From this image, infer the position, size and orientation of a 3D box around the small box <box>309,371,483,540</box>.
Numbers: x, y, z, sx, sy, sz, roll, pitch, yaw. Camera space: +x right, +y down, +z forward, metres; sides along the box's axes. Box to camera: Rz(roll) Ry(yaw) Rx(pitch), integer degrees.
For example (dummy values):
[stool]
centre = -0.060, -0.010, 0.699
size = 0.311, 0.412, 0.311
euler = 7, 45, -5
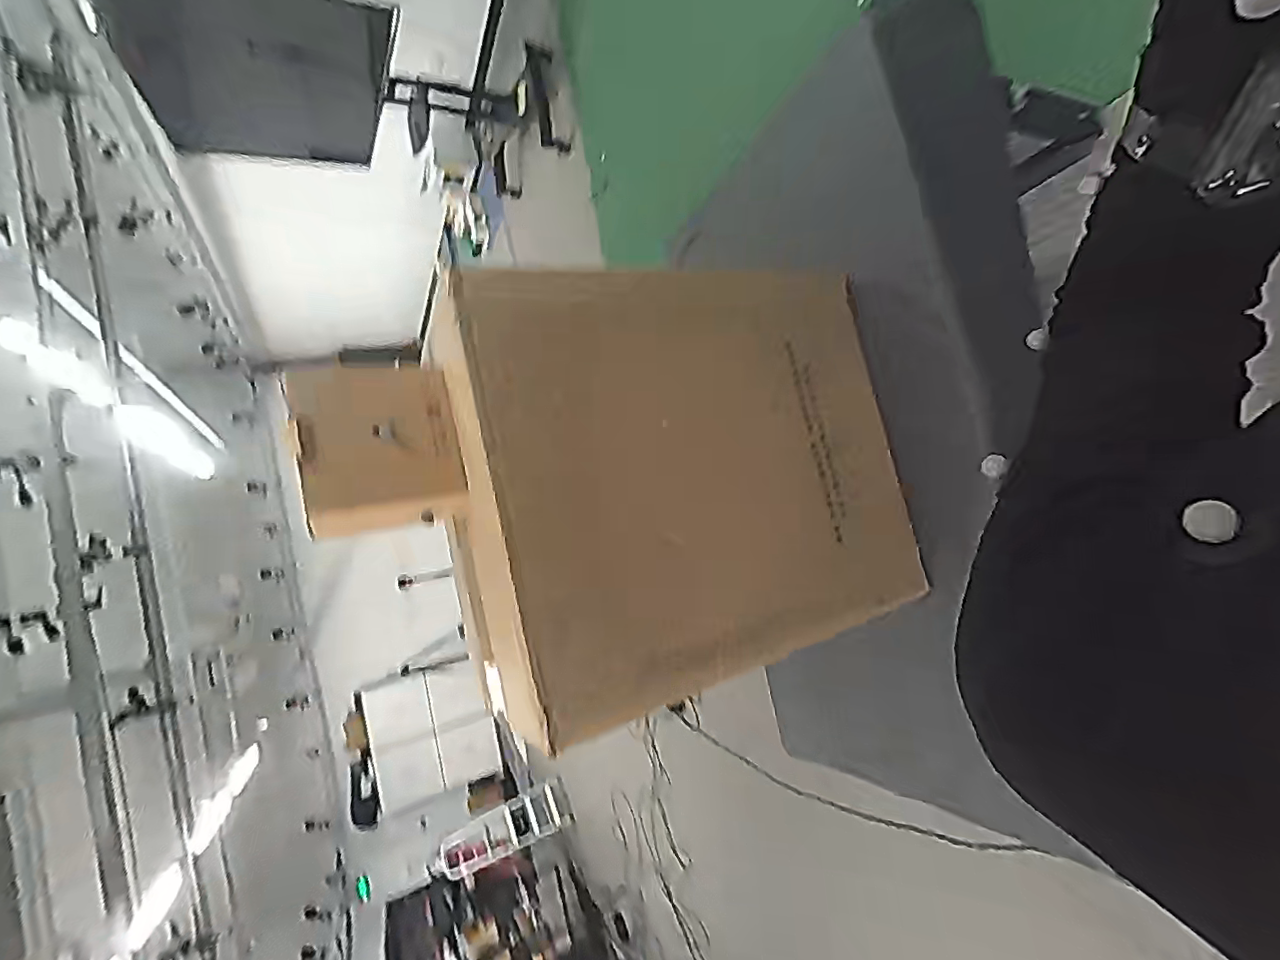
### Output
[small box]
centre = -0.309, -0.031, 0.694
size = 0.179, 0.176, 0.168
euler = -30, 72, 59
